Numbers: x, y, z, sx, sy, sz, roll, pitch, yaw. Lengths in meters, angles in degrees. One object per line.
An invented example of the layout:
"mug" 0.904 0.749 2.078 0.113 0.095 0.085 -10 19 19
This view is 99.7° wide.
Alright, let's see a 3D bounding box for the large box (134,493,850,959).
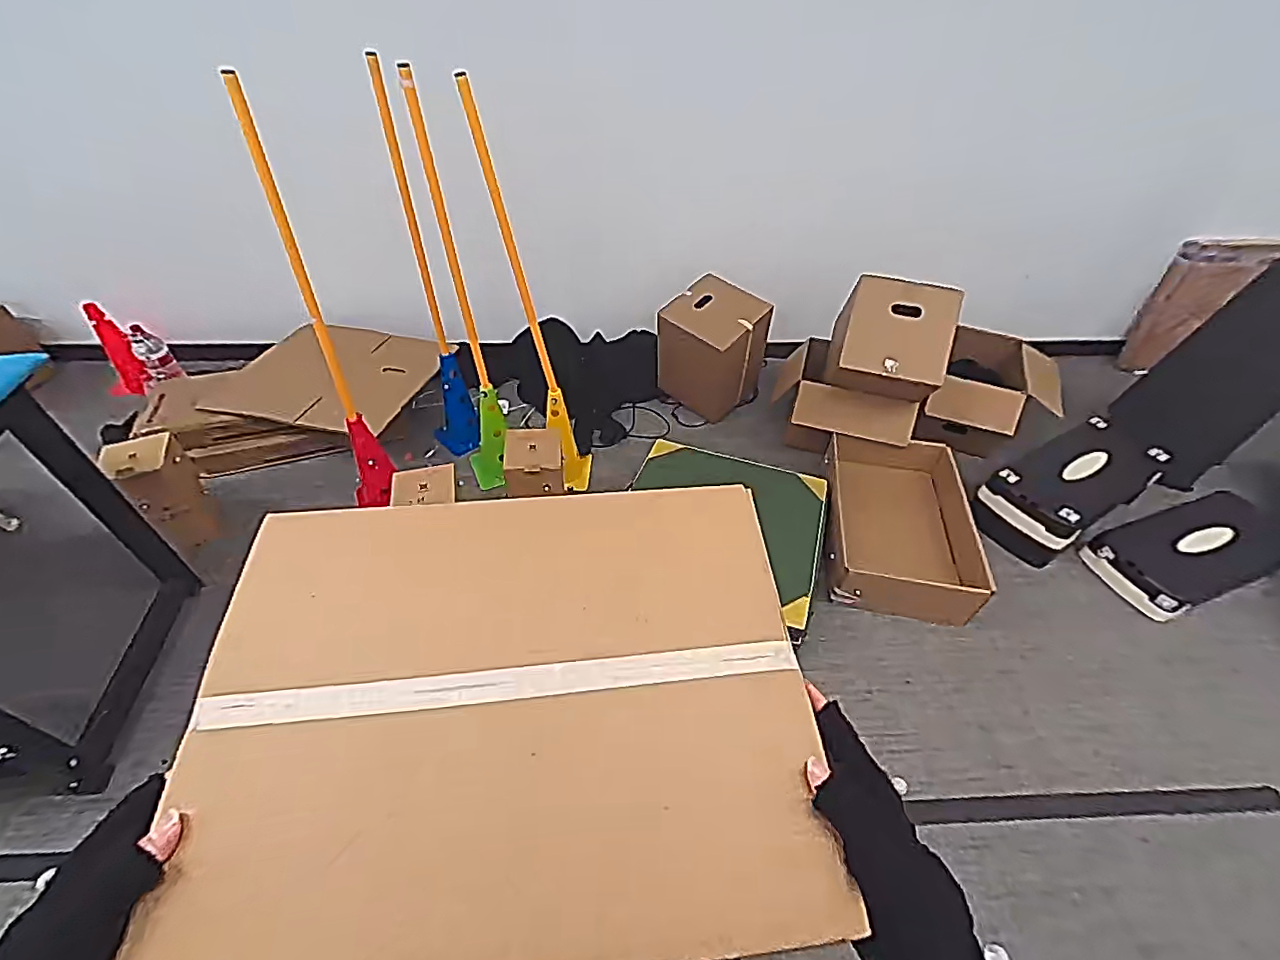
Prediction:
"large box" -0.094 0.236 0.499 0.408 0.320 0.320 -4 53 -5
